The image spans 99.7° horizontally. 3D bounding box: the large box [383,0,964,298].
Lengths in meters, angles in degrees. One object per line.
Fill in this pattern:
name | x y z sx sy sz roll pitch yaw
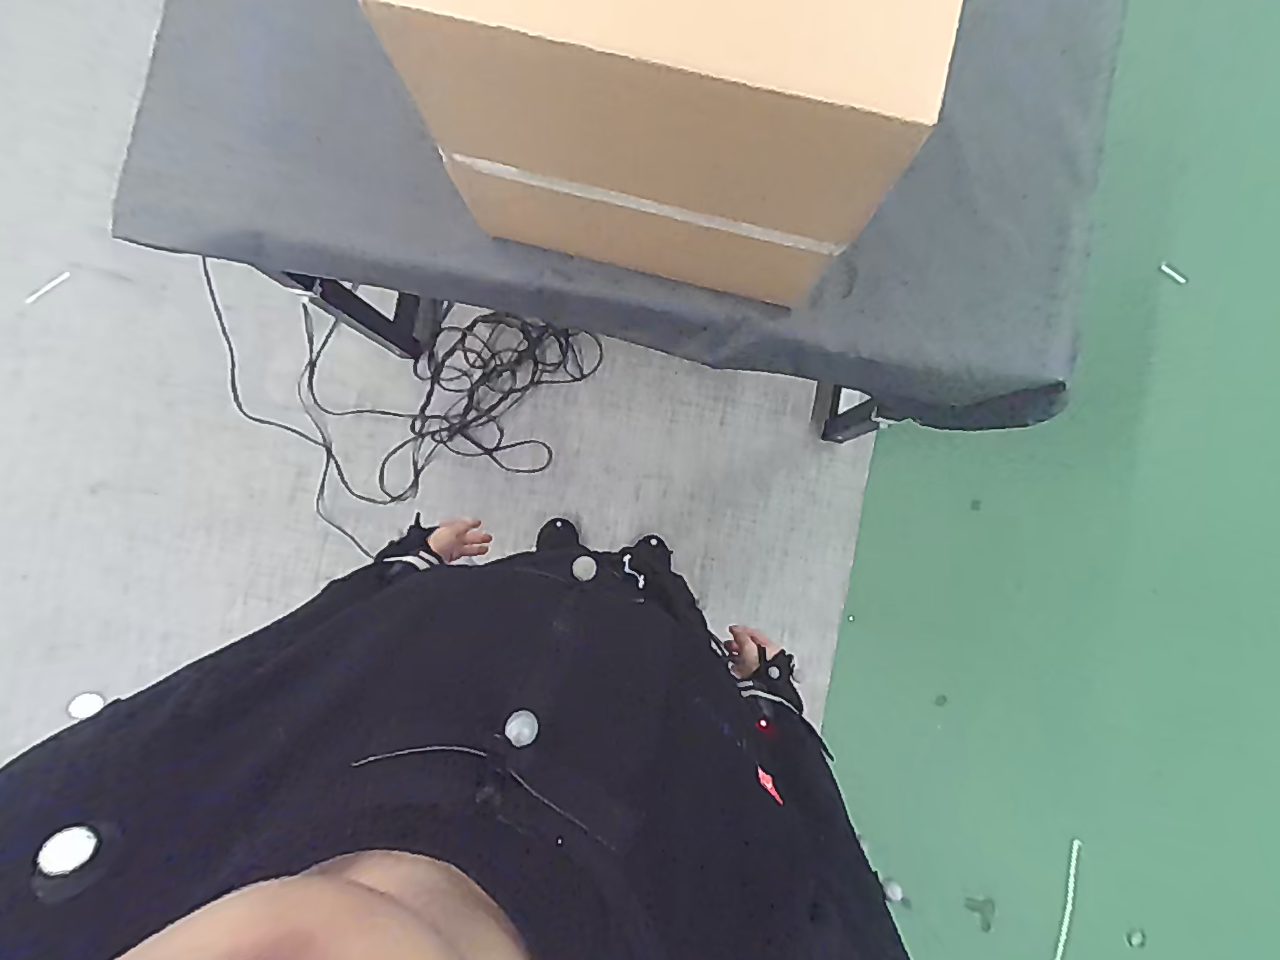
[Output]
large box | 0.043 -0.417 0.528 0.408 0.320 0.320 12 85 1
